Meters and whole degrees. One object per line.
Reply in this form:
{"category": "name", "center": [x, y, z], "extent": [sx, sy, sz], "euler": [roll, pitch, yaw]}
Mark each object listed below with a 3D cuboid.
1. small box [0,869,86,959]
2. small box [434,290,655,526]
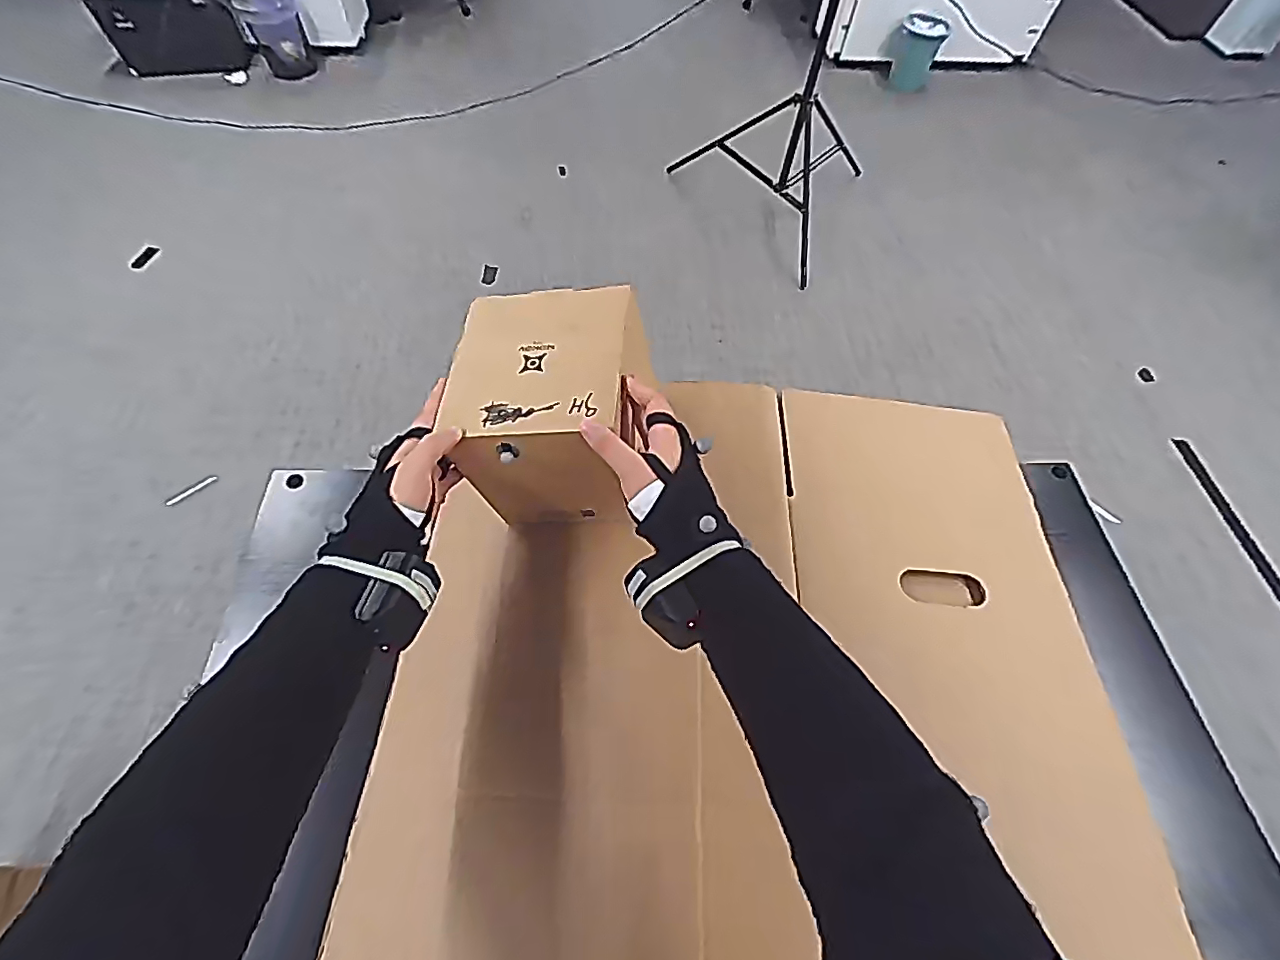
{"category": "small box", "center": [-1.199, 0.836, 0.998], "extent": [0.168, 0.176, 0.179], "euler": [-4, 60, -6]}
{"category": "small box", "center": [-0.080, -0.067, 0.562], "extent": [0.168, 0.176, 0.179], "euler": [-2, 58, 11]}
